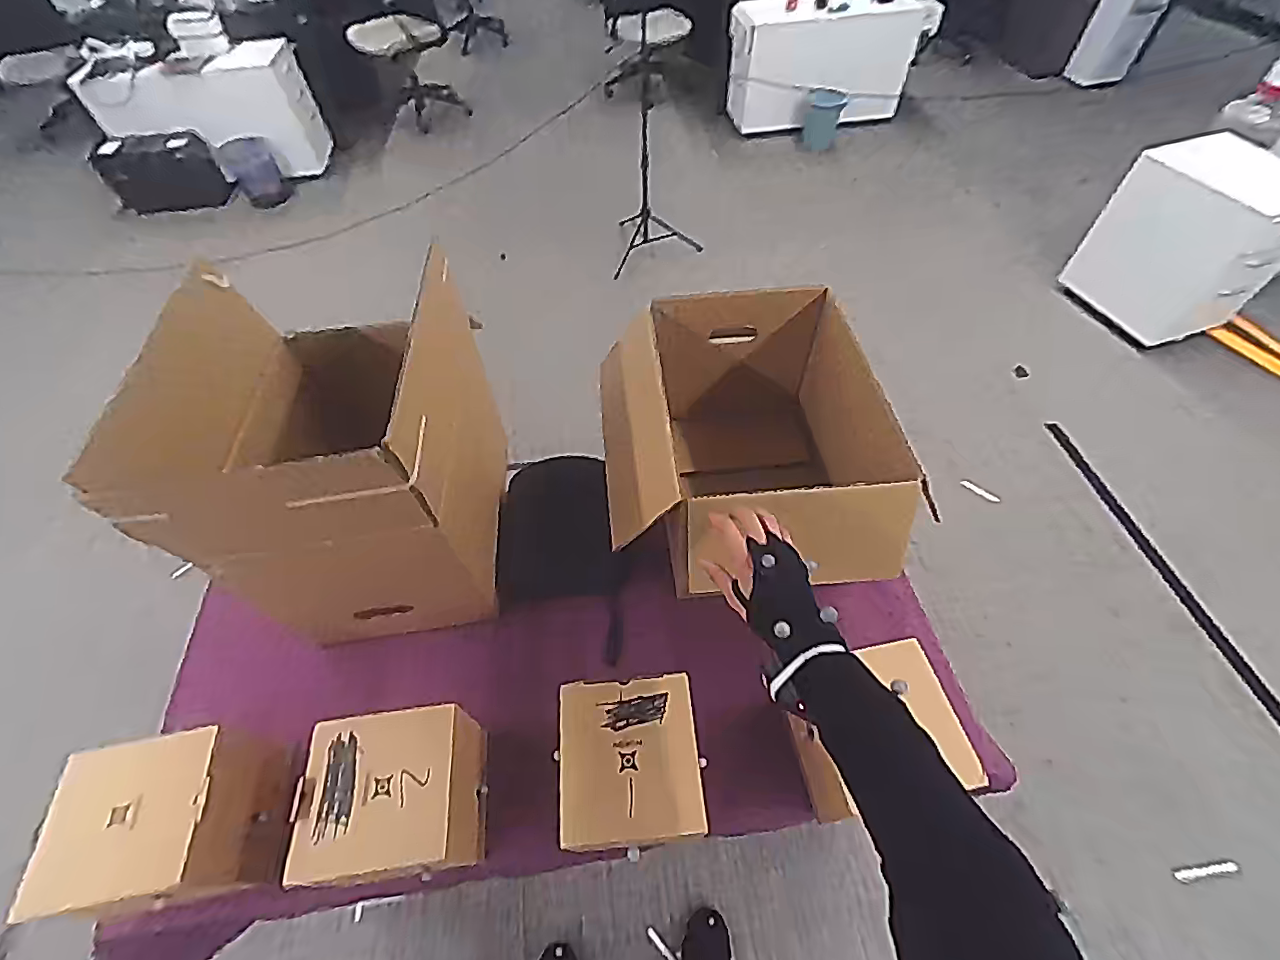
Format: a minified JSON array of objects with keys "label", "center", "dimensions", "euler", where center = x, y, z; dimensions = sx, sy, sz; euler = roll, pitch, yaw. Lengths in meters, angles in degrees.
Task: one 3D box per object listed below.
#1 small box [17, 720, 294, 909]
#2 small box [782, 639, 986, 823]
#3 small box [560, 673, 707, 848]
[{"label":"small box","center":[-0.588,0.426,0.690],"dimensions":[0.179,0.176,0.168],"euler":[-9,55,-6]},{"label":"small box","center":[0.301,0.336,0.718],"dimensions":[0.168,0.176,0.179],"euler":[-10,55,-3]},{"label":"small box","center":[-0.010,0.370,0.708],"dimensions":[0.168,0.176,0.179],"euler":[-5,55,-1]}]
